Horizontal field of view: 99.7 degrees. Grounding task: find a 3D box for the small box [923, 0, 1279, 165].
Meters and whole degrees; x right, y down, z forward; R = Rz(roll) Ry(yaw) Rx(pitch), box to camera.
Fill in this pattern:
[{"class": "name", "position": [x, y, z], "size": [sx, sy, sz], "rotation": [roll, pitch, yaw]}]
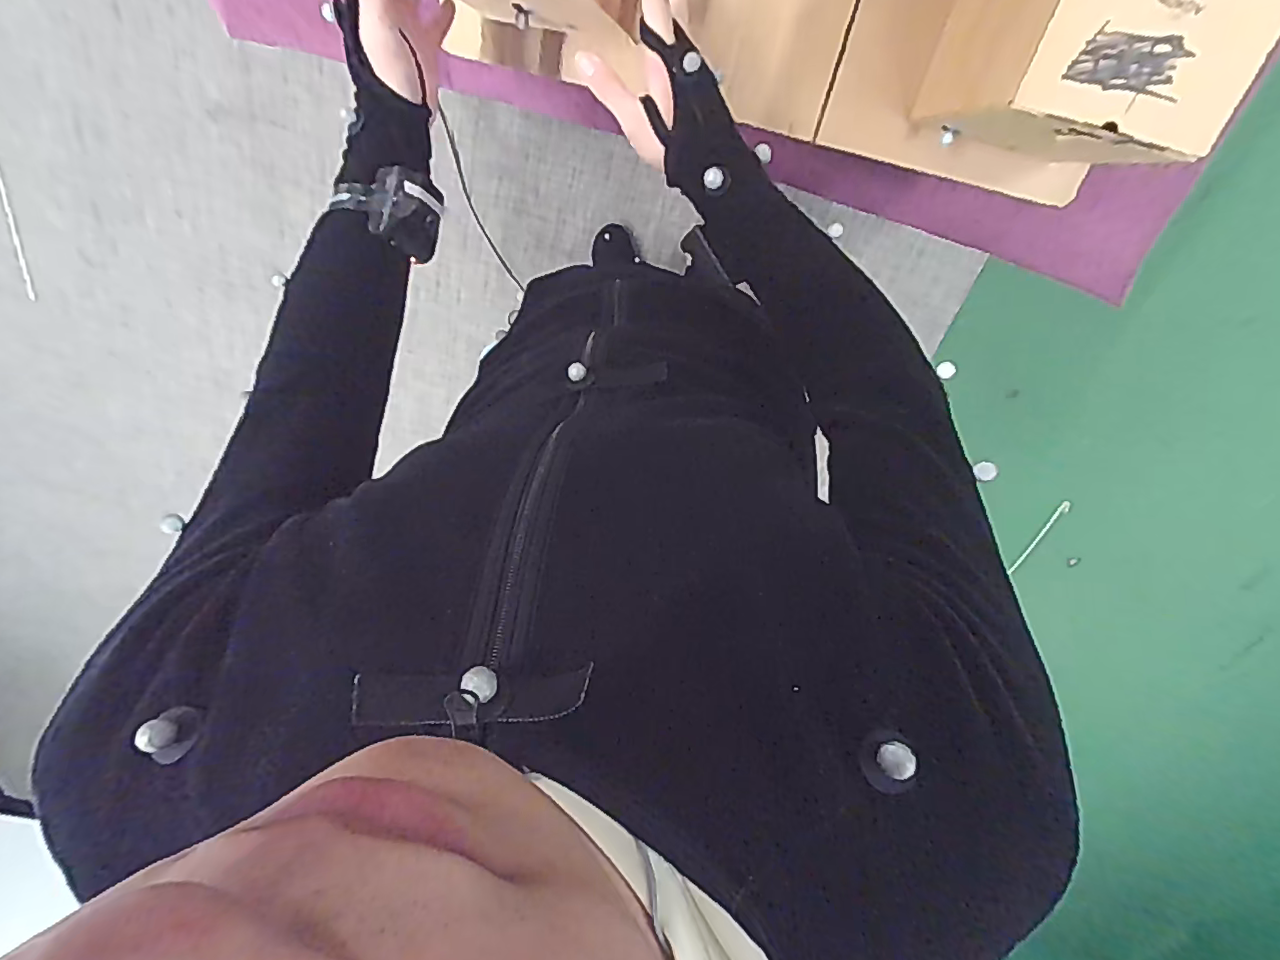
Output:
[{"class": "small box", "position": [0.363, -0.368, 0.432], "size": [0.168, 0.176, 0.179], "rotation": [10, 118, -8]}]
